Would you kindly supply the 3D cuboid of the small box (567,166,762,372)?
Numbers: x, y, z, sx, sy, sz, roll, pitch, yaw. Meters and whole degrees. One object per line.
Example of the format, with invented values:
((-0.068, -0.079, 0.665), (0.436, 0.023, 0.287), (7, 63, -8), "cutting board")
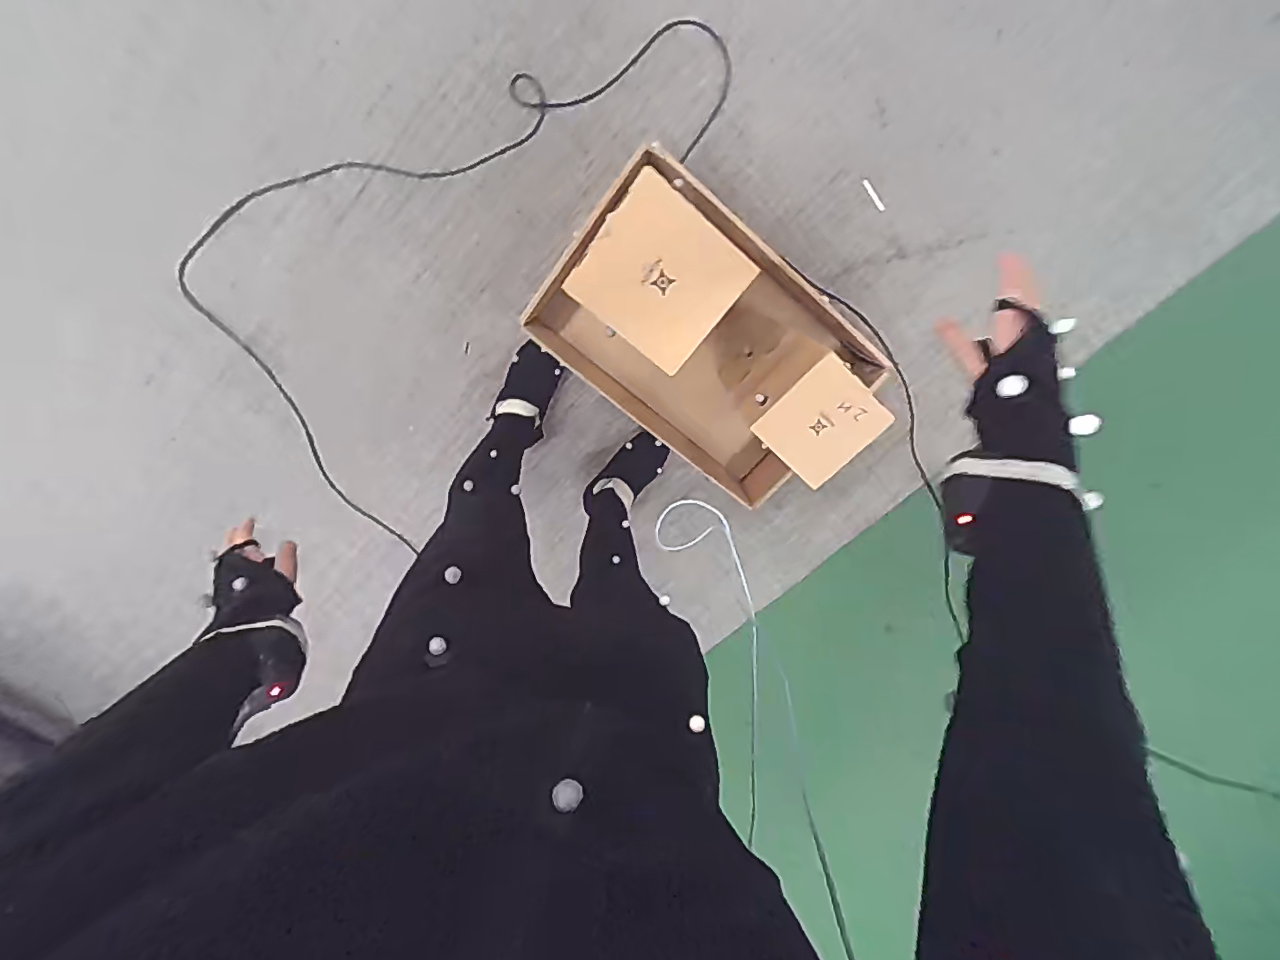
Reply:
((0.032, -0.275, 0.714), (0.179, 0.176, 0.168), (37, 110, -13), "small box")

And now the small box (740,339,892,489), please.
((0.293, -0.121, 0.949), (0.168, 0.176, 0.179), (42, 106, -16), "small box")

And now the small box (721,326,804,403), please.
((0.285, -0.195, 1.097), (0.179, 0.176, 0.168), (42, 107, -15), "small box")
